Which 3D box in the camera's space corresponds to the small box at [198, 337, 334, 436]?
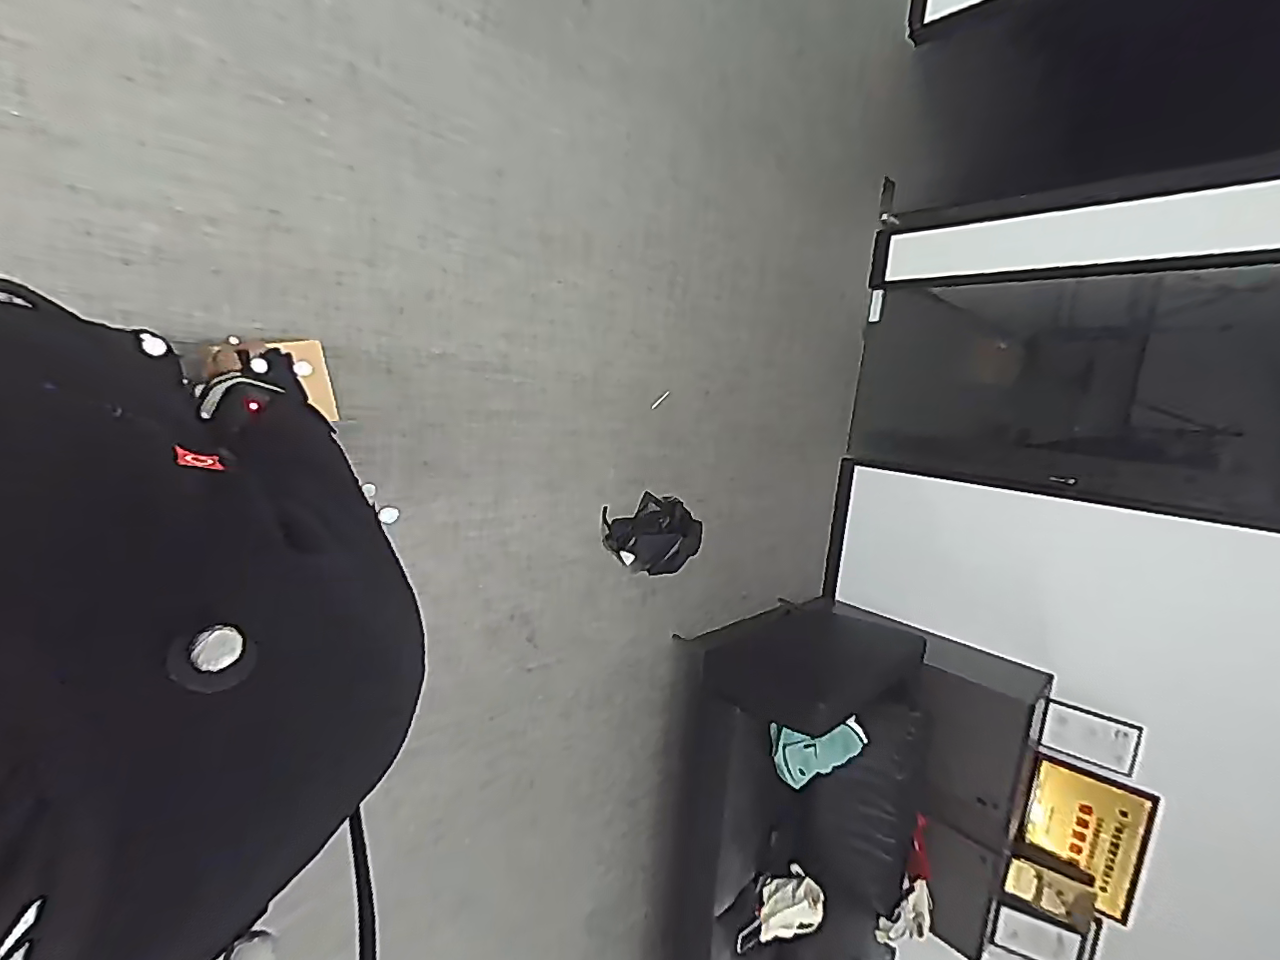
[{"bbox_3d":[-0.752,-0.196,1.089,0.179,0.176,0.168,-20,115,-39],"label":"small box"}]
